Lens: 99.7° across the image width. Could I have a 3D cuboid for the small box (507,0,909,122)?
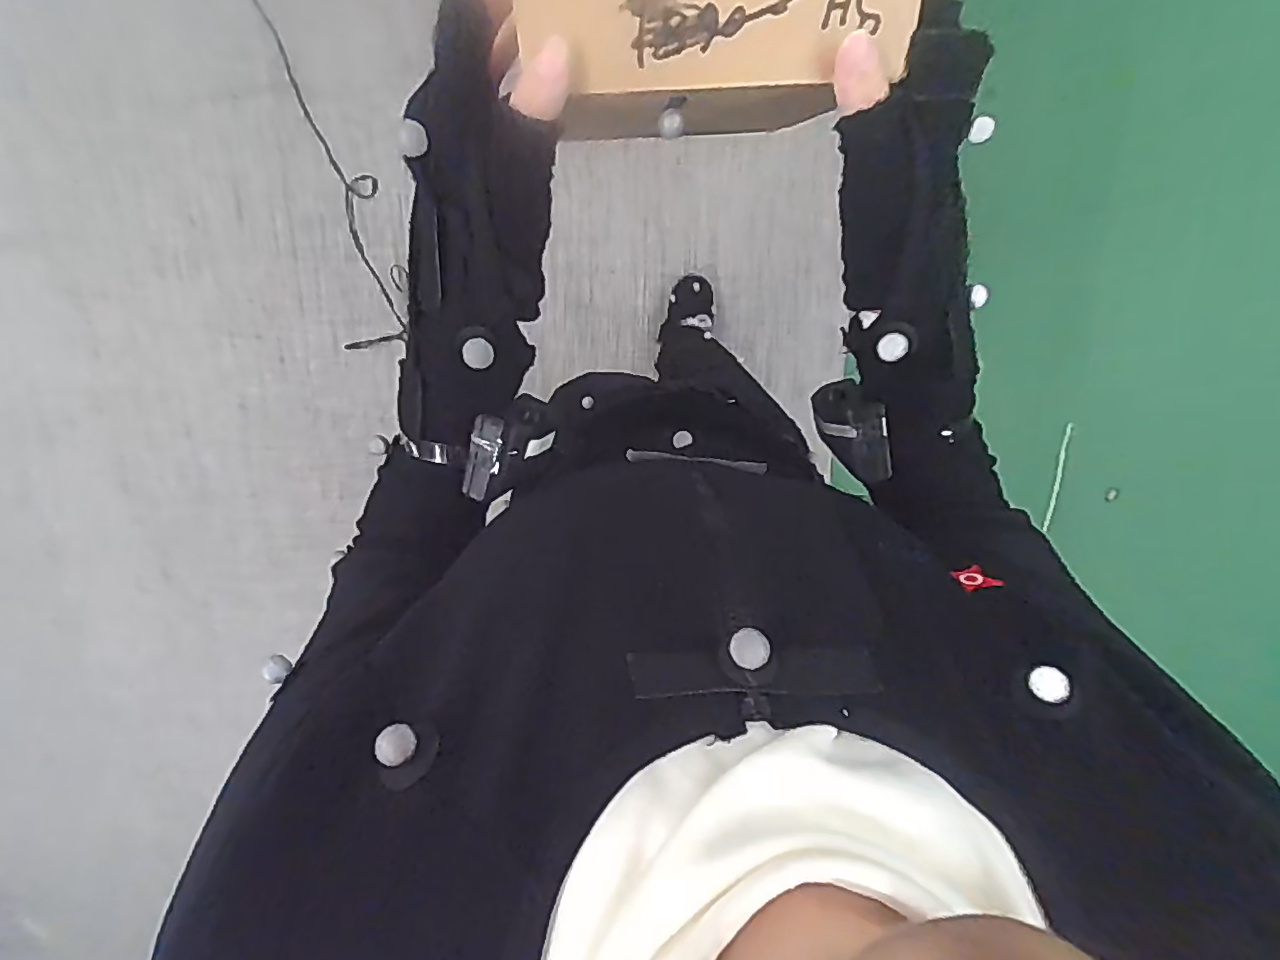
[{"bbox_3d":[0.019,-0.288,0.256,0.168,0.176,0.179,-4,117,-3],"label":"small box"}]
